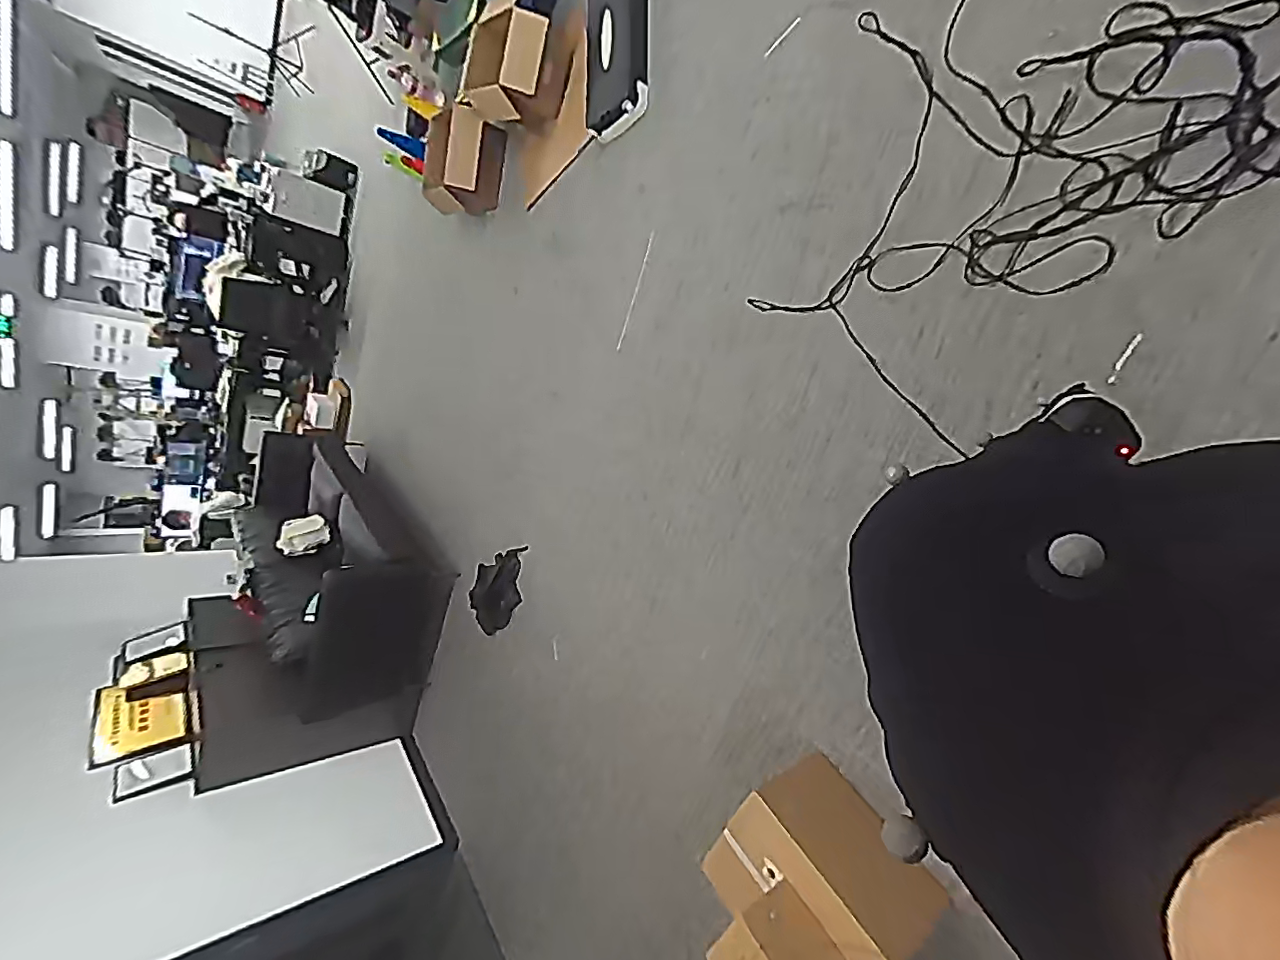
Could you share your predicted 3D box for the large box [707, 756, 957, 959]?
[{"bbox_3d":[0.449,0.973,1.308,0.408,0.320,0.320,45,118,41],"label":"large box"}]
